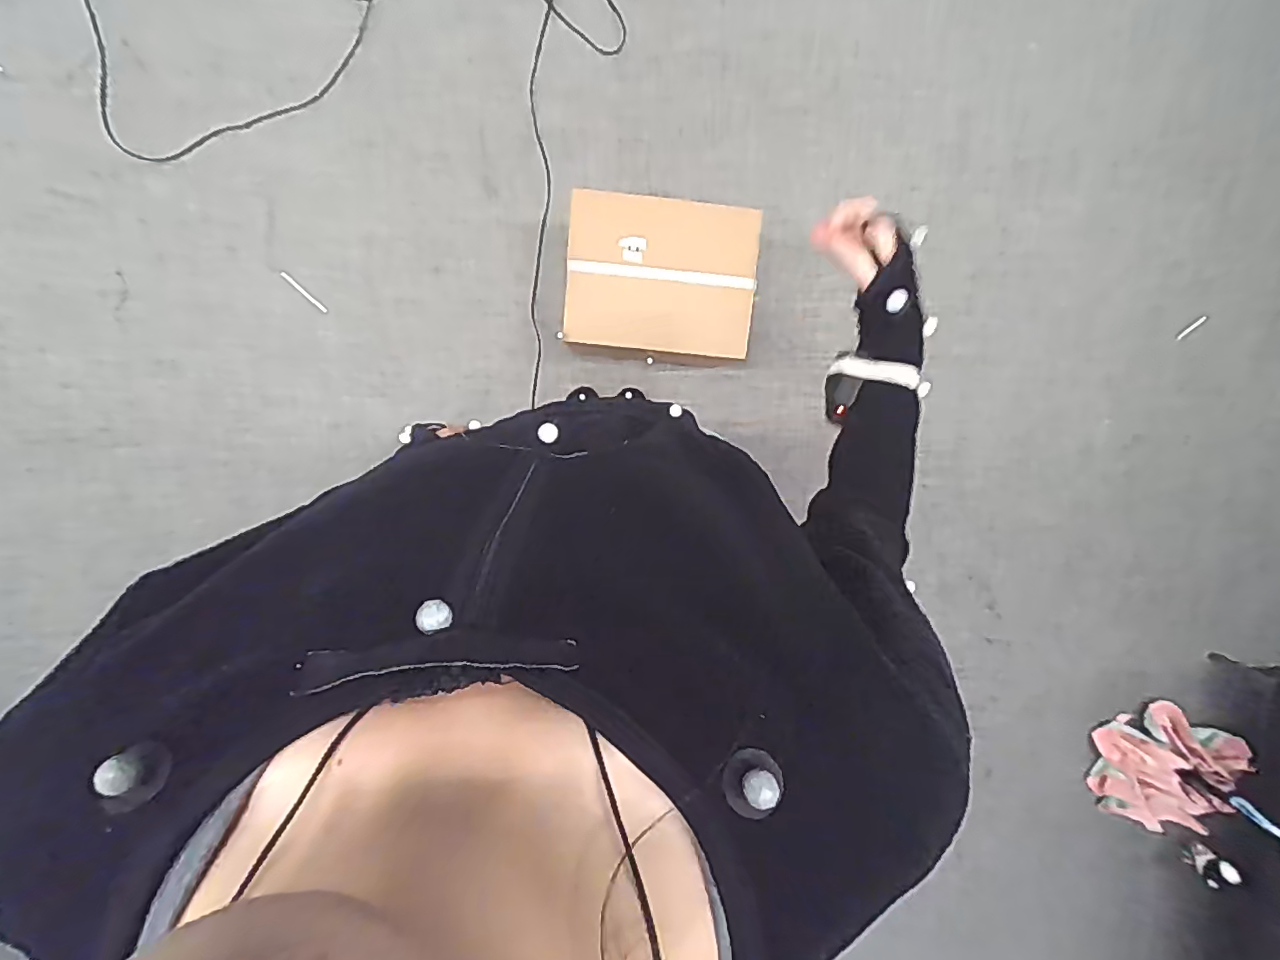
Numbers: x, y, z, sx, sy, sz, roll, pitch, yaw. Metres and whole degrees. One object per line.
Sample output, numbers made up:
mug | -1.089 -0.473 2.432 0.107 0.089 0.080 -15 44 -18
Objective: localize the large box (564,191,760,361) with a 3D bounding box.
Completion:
large box | 0.042 -0.462 1.303 0.408 0.320 0.320 6 98 -3
